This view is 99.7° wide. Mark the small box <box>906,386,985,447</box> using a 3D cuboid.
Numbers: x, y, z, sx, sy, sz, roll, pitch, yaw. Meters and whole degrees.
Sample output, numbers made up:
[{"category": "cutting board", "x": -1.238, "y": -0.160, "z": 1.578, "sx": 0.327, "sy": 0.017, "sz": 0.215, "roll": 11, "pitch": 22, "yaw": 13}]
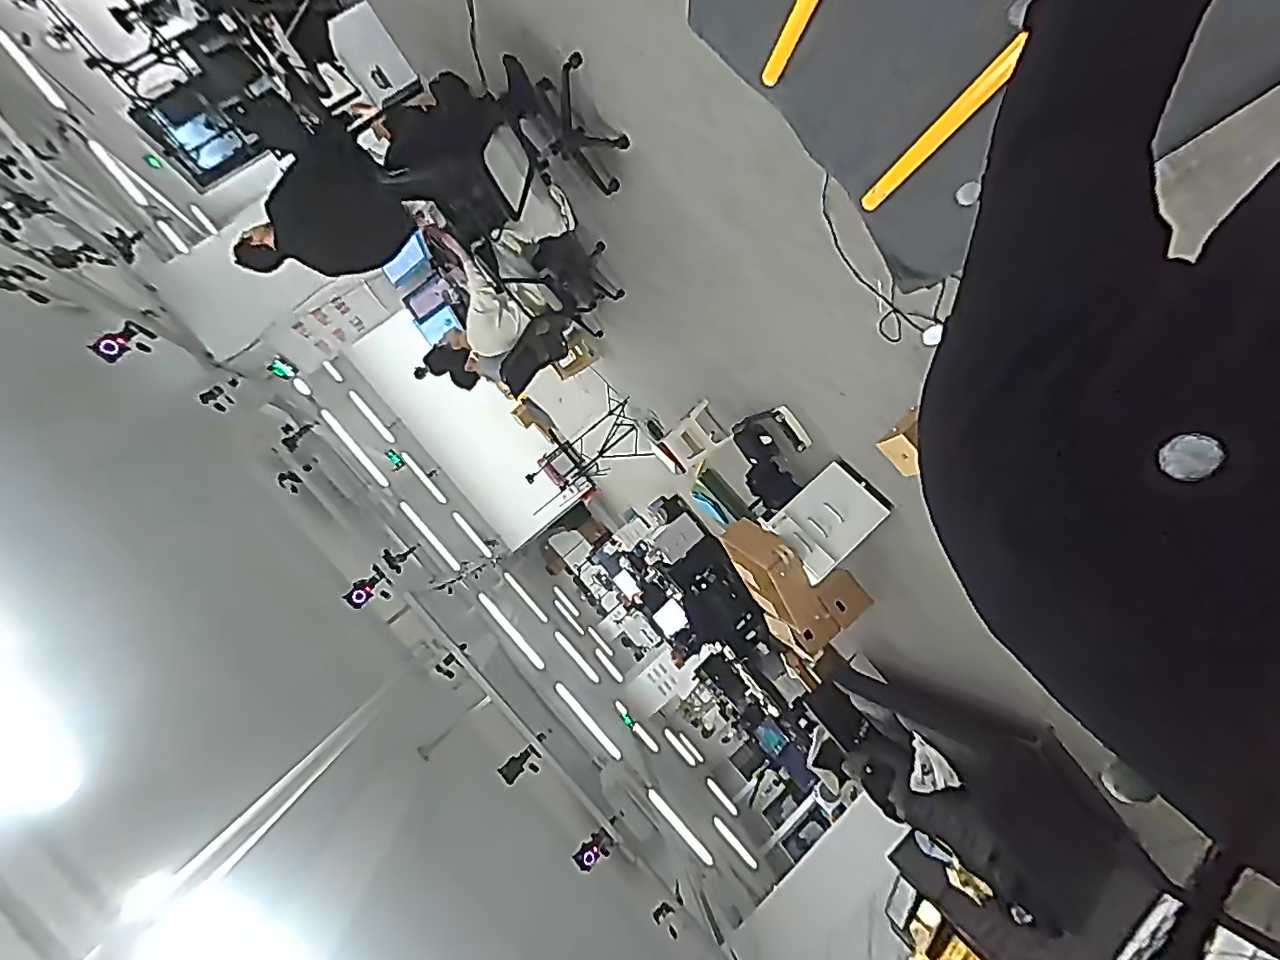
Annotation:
[{"category": "small box", "x": 1.129, "y": -0.223, "z": 1.994, "sx": 0.168, "sy": 0.176, "sz": 0.179, "roll": 49, "pitch": 169, "yaw": 1}]

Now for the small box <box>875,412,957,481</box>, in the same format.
[{"category": "small box", "x": 1.004, "y": -0.122, "z": 1.955, "sx": 0.168, "sy": 0.176, "sz": 0.179, "roll": 49, "pitch": 170, "yaw": 3}]
